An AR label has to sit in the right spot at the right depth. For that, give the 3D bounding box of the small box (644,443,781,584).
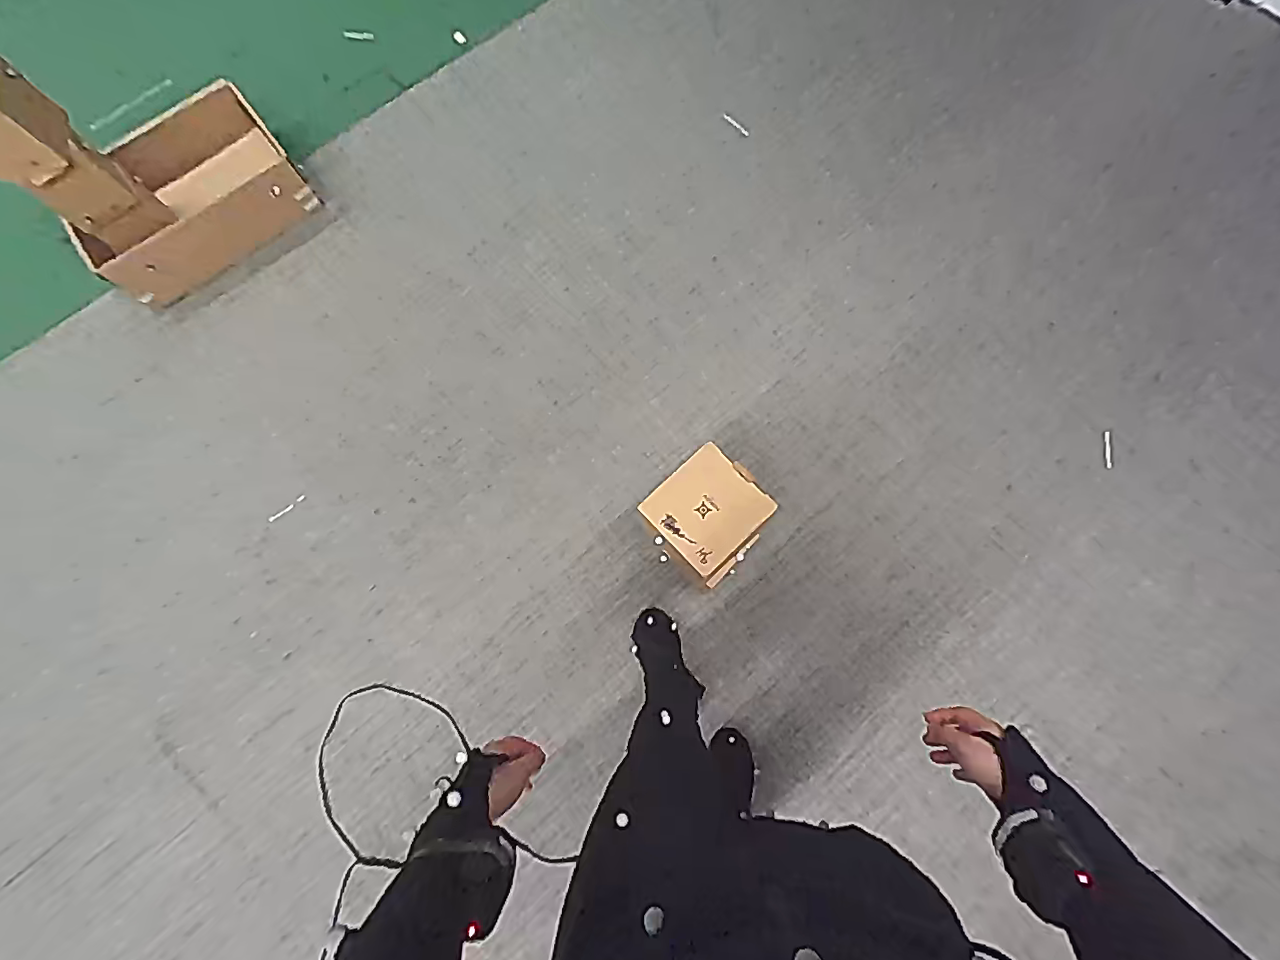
[{"bbox_3d":[0.123,0.068,0.980,0.179,0.176,0.168,-41,75,-9],"label":"small box"}]

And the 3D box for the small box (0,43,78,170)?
[{"bbox_3d":[-1.486,-0.864,1.271,0.168,0.176,0.179,-17,74,-2],"label":"small box"}]

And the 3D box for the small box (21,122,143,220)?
[{"bbox_3d":[-1.485,-0.825,1.429,0.168,0.176,0.179,-39,76,-8],"label":"small box"}]

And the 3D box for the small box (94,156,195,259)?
[{"bbox_3d":[-1.480,-0.793,1.590,0.168,0.176,0.179,-40,77,-8],"label":"small box"}]
